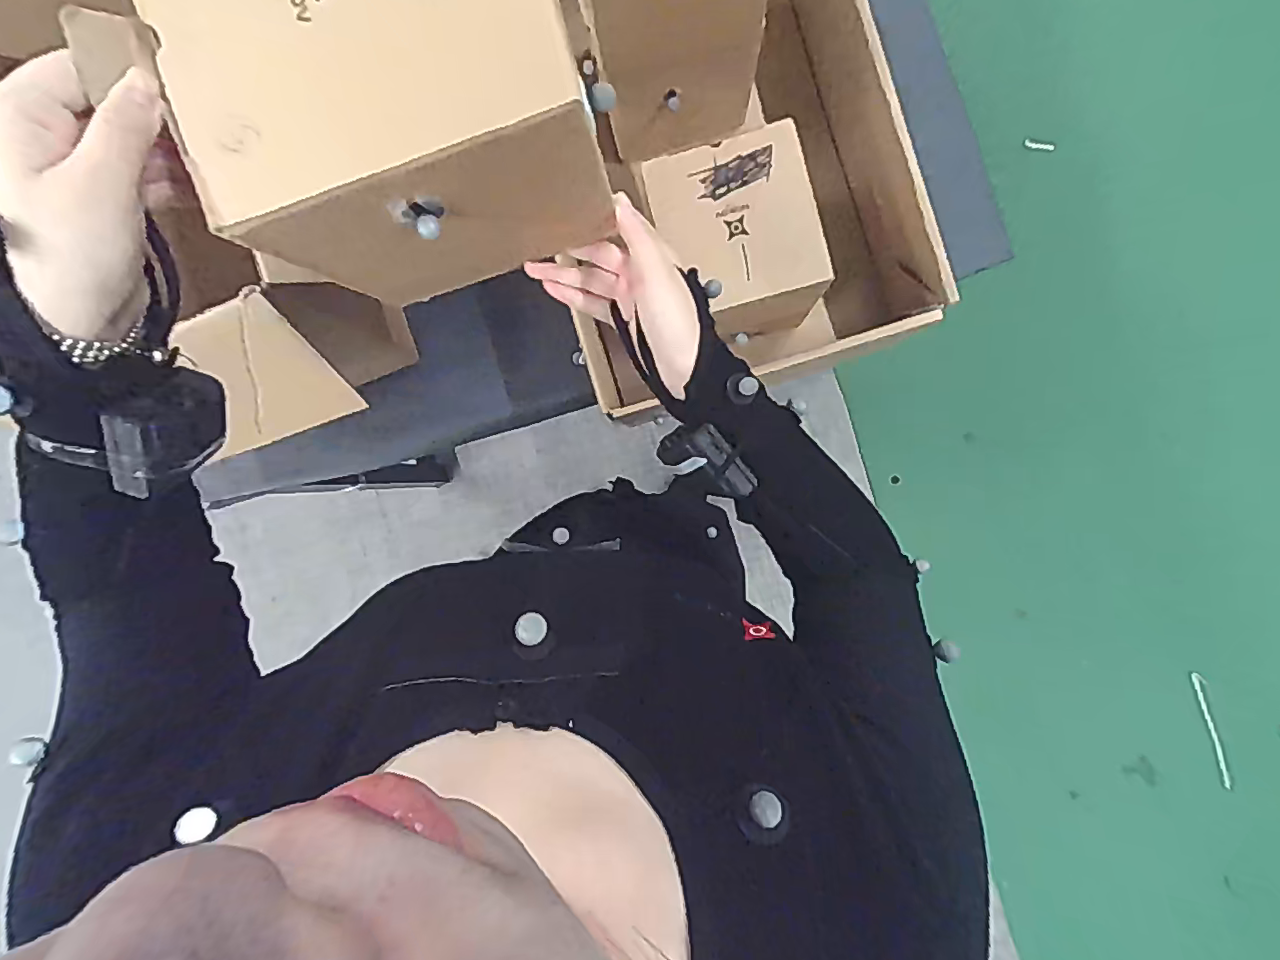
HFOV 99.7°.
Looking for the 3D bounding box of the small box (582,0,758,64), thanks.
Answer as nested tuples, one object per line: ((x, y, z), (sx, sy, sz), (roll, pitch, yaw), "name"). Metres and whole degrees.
((0.016, -0.523, 0.481), (0.179, 0.176, 0.168), (-14, 91, 3), "small box")

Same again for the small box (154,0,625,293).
((-0.118, -0.222, 0.308), (0.179, 0.176, 0.168), (-16, 97, 5), "small box")
